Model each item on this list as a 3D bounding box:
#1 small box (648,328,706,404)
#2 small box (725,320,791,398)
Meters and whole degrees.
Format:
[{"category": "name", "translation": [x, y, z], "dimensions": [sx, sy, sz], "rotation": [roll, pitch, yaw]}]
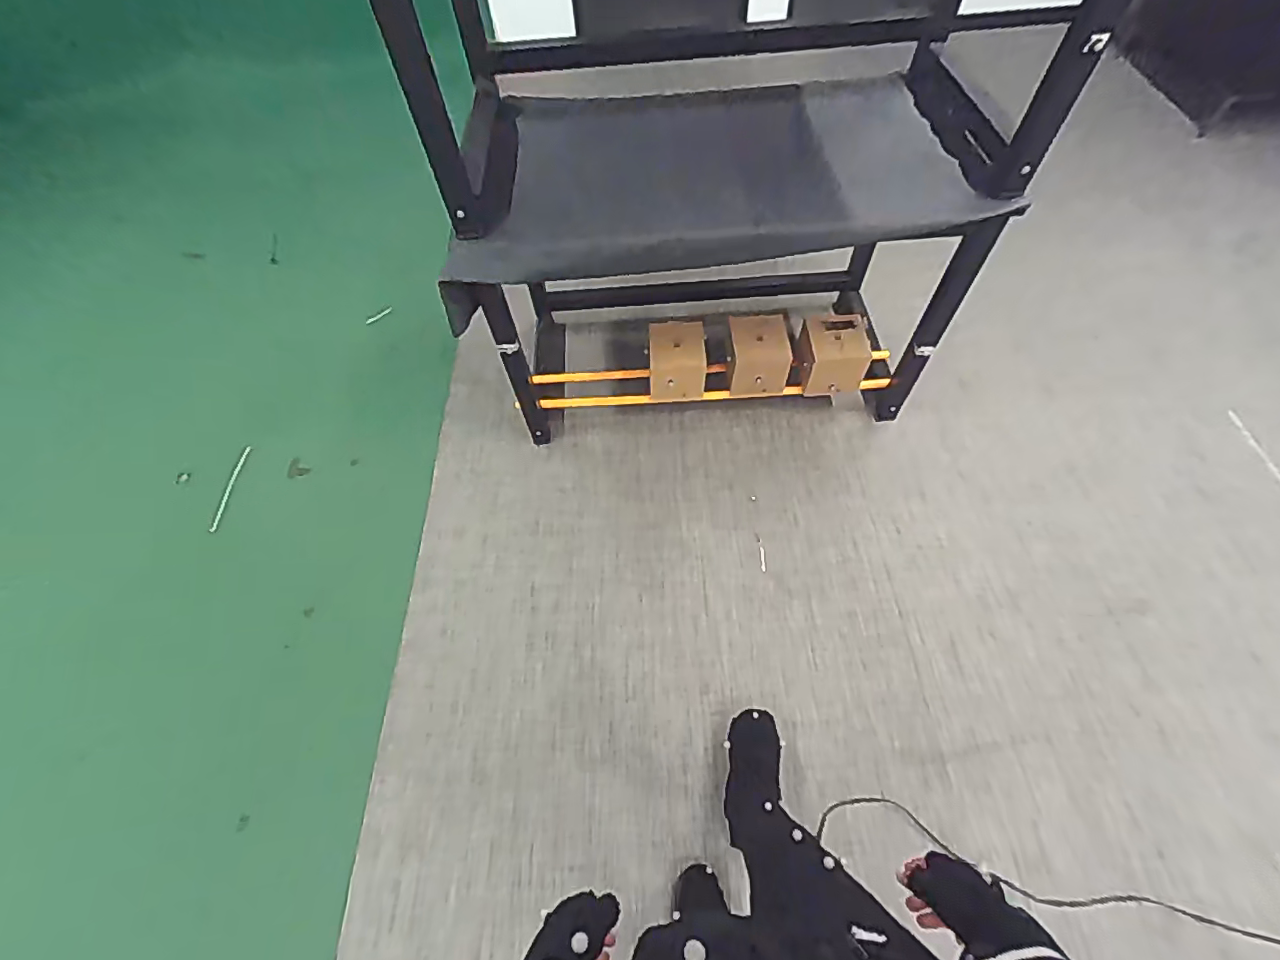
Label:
[{"category": "small box", "translation": [0.112, -0.346, 1.673], "dimensions": [0.168, 0.176, 0.179], "rotation": [-2, 59, 1]}, {"category": "small box", "translation": [0.358, -0.365, 1.670], "dimensions": [0.168, 0.176, 0.179], "rotation": [-4, 59, 1]}]
